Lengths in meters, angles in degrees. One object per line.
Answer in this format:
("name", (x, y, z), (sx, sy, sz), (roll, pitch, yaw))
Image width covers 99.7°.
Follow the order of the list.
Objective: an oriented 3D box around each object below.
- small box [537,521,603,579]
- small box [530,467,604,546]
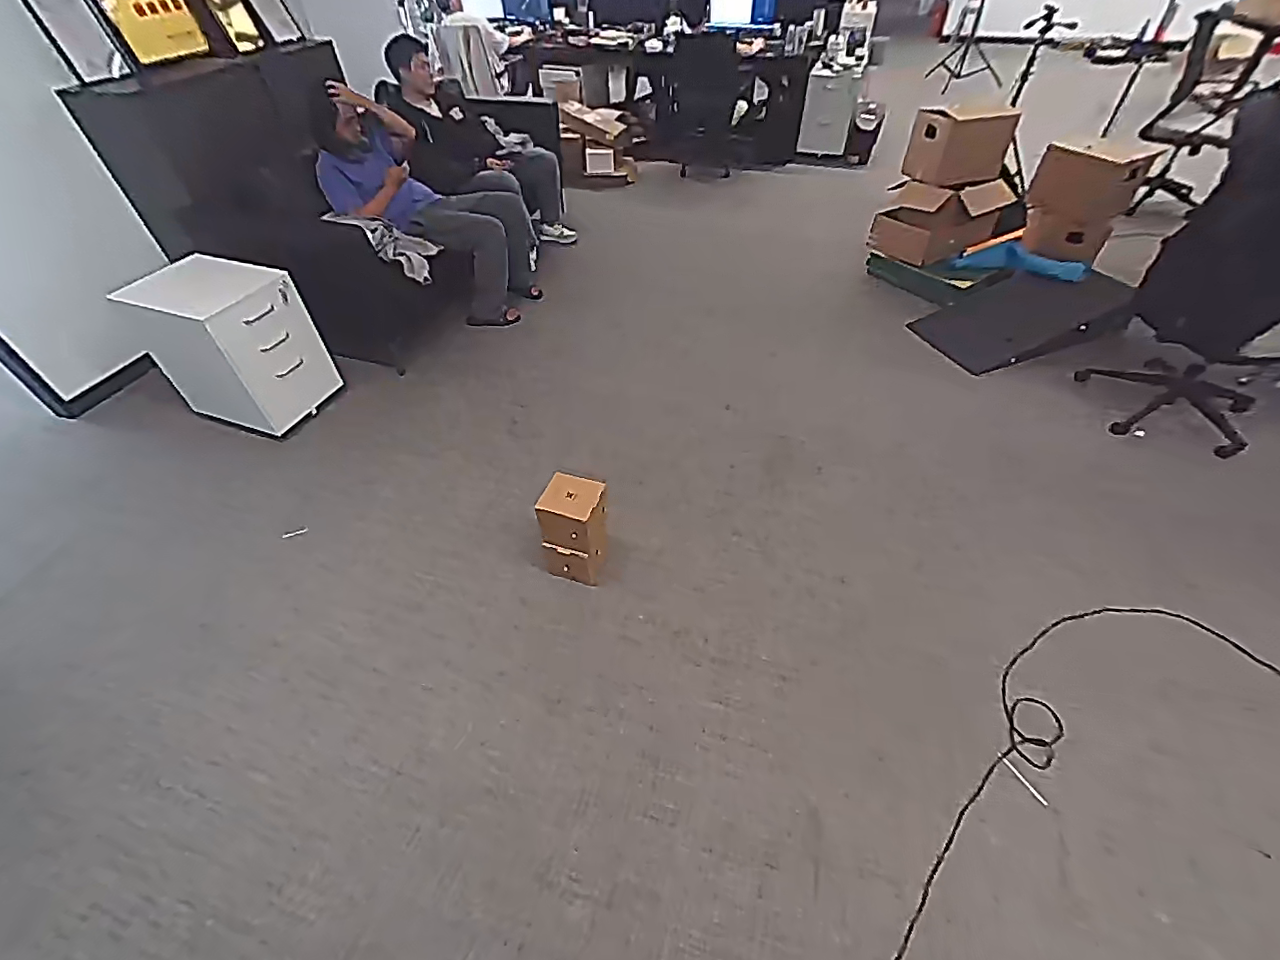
("small box", (-0.231, 0.214, 1.846), (0.168, 0.176, 0.179), (12, 48, 13))
("small box", (-0.224, 0.087, 1.716), (0.179, 0.176, 0.168), (13, 47, 14))
